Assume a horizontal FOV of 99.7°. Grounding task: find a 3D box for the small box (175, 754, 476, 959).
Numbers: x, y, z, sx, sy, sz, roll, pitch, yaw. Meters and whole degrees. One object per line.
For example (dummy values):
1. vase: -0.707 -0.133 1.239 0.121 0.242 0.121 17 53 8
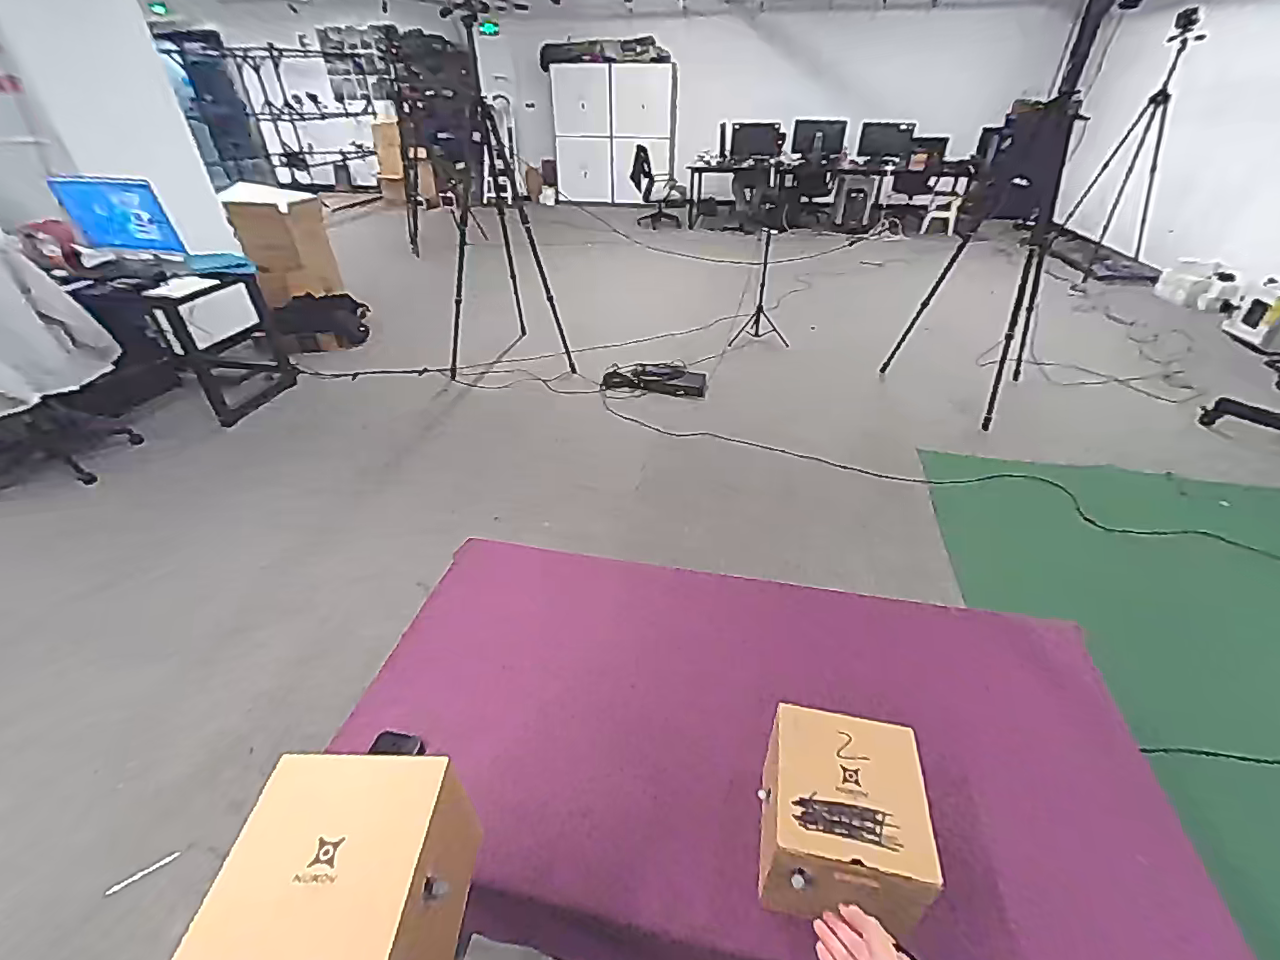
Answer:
1. small box: -0.263 0.385 0.501 0.168 0.176 0.179 1 38 2
